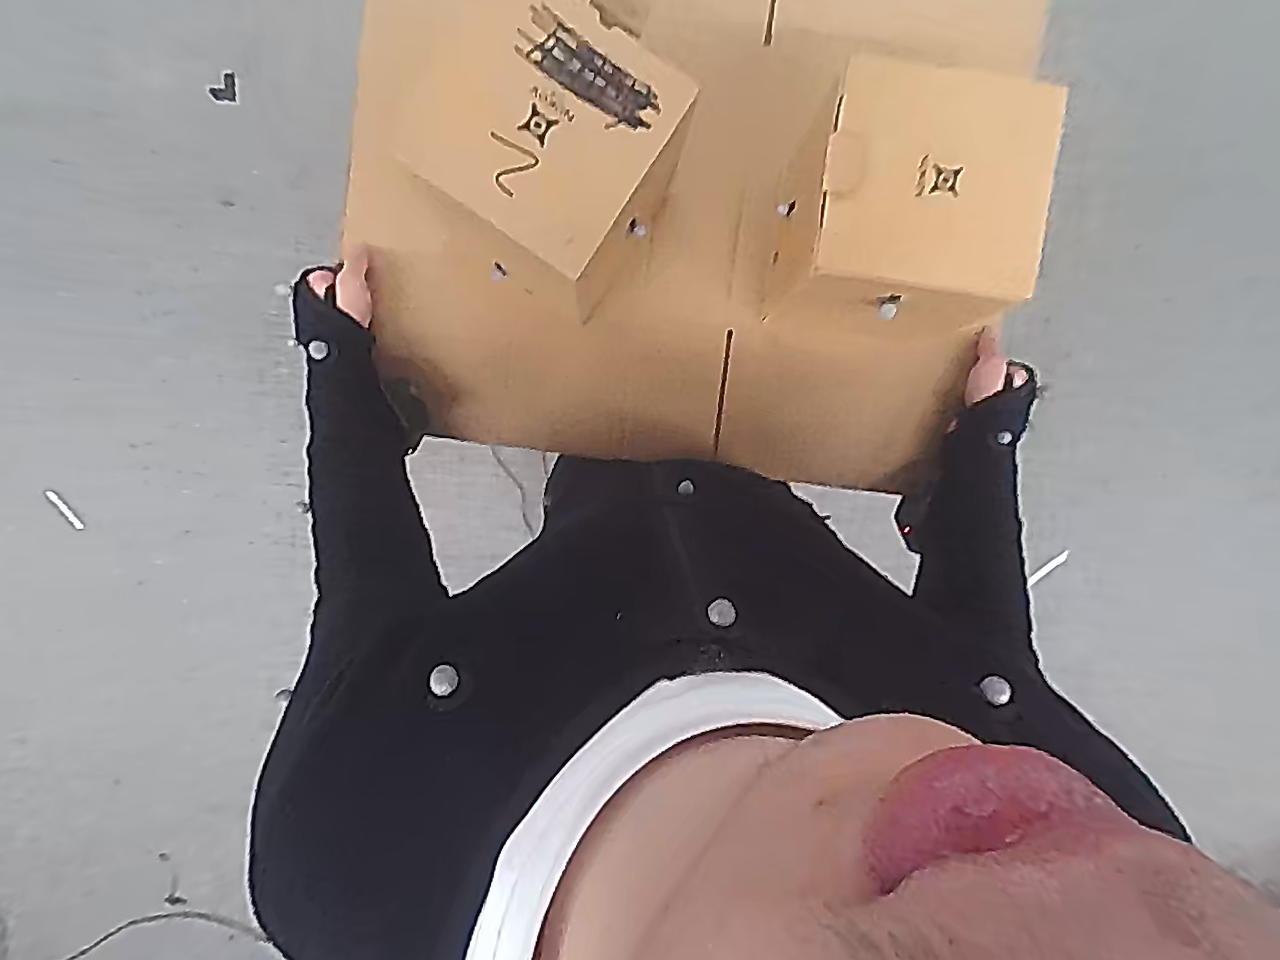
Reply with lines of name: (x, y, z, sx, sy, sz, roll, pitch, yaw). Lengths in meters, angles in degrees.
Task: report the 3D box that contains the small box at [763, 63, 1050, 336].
small box: (0.231, -0.242, 0.514, 0.179, 0.176, 0.168, 7, 92, -1)
